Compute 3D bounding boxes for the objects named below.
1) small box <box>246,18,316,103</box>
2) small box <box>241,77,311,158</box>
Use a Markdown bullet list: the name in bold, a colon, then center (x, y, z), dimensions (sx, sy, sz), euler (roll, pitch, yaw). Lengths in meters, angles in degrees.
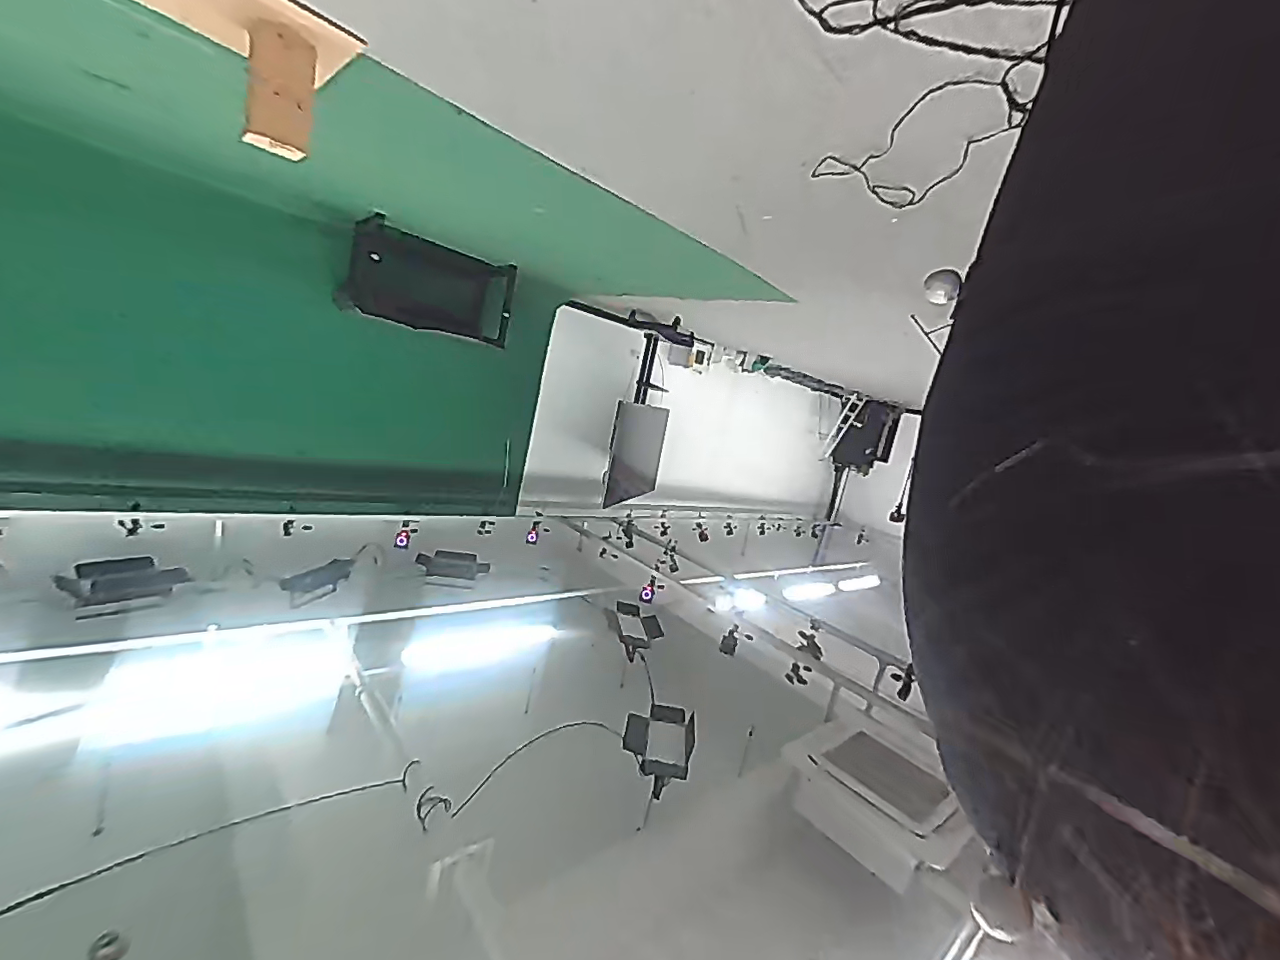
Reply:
- **small box**: center (-1.201, -1.387, 1.809), dimensions (0.168, 0.176, 0.179), euler (2, -167, -44)
- **small box**: center (-1.236, -1.229, 1.837), dimensions (0.168, 0.176, 0.179), euler (2, -166, -46)
